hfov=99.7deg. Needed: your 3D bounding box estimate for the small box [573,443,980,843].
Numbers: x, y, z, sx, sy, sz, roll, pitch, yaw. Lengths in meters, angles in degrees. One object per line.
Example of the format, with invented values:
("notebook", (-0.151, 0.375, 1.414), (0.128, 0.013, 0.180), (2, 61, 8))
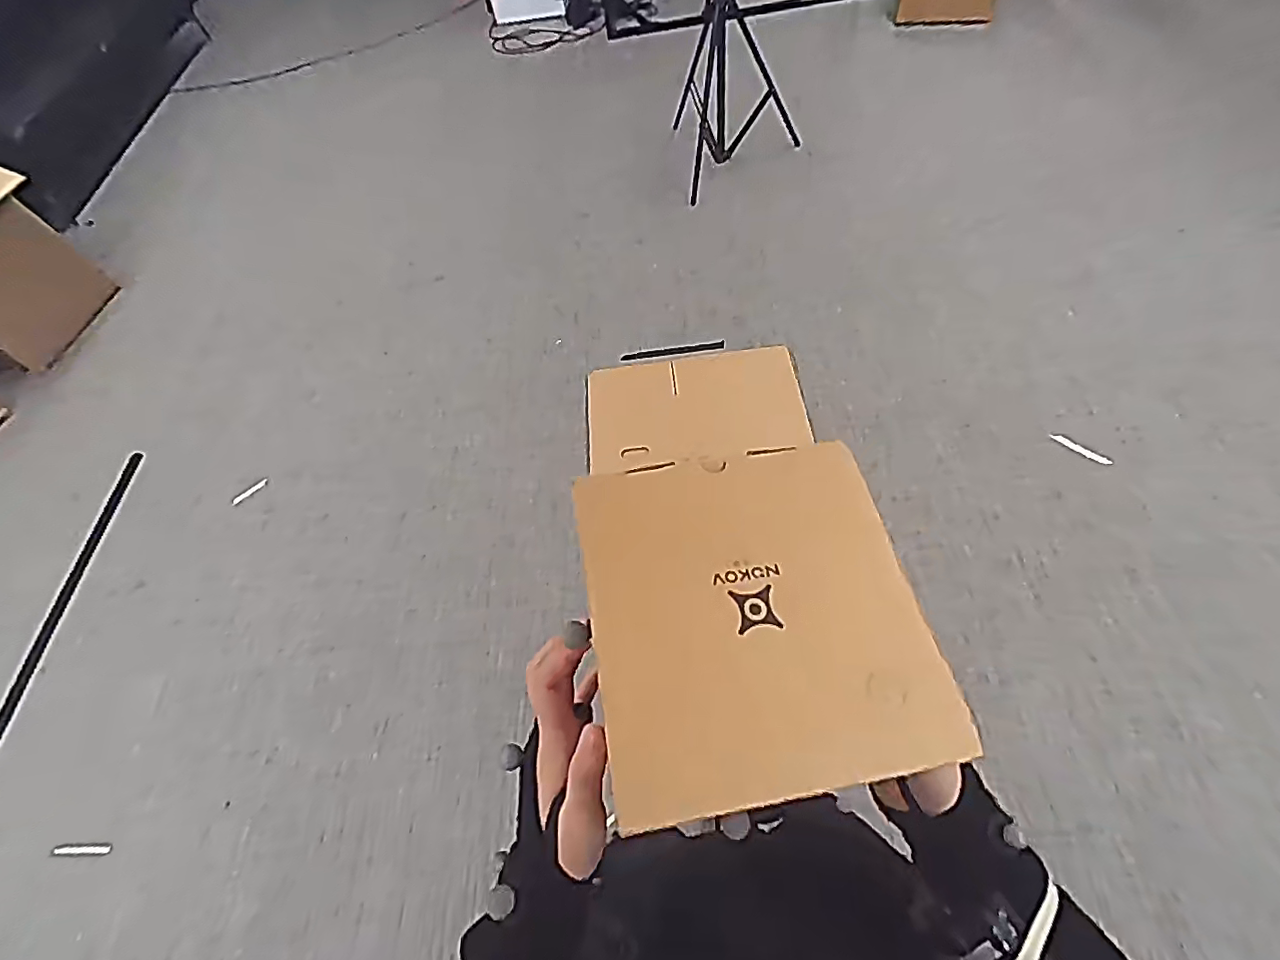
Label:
("small box", (0.055, 0.103, 0.338), (0.168, 0.176, 0.179), (-8, 59, -6))
